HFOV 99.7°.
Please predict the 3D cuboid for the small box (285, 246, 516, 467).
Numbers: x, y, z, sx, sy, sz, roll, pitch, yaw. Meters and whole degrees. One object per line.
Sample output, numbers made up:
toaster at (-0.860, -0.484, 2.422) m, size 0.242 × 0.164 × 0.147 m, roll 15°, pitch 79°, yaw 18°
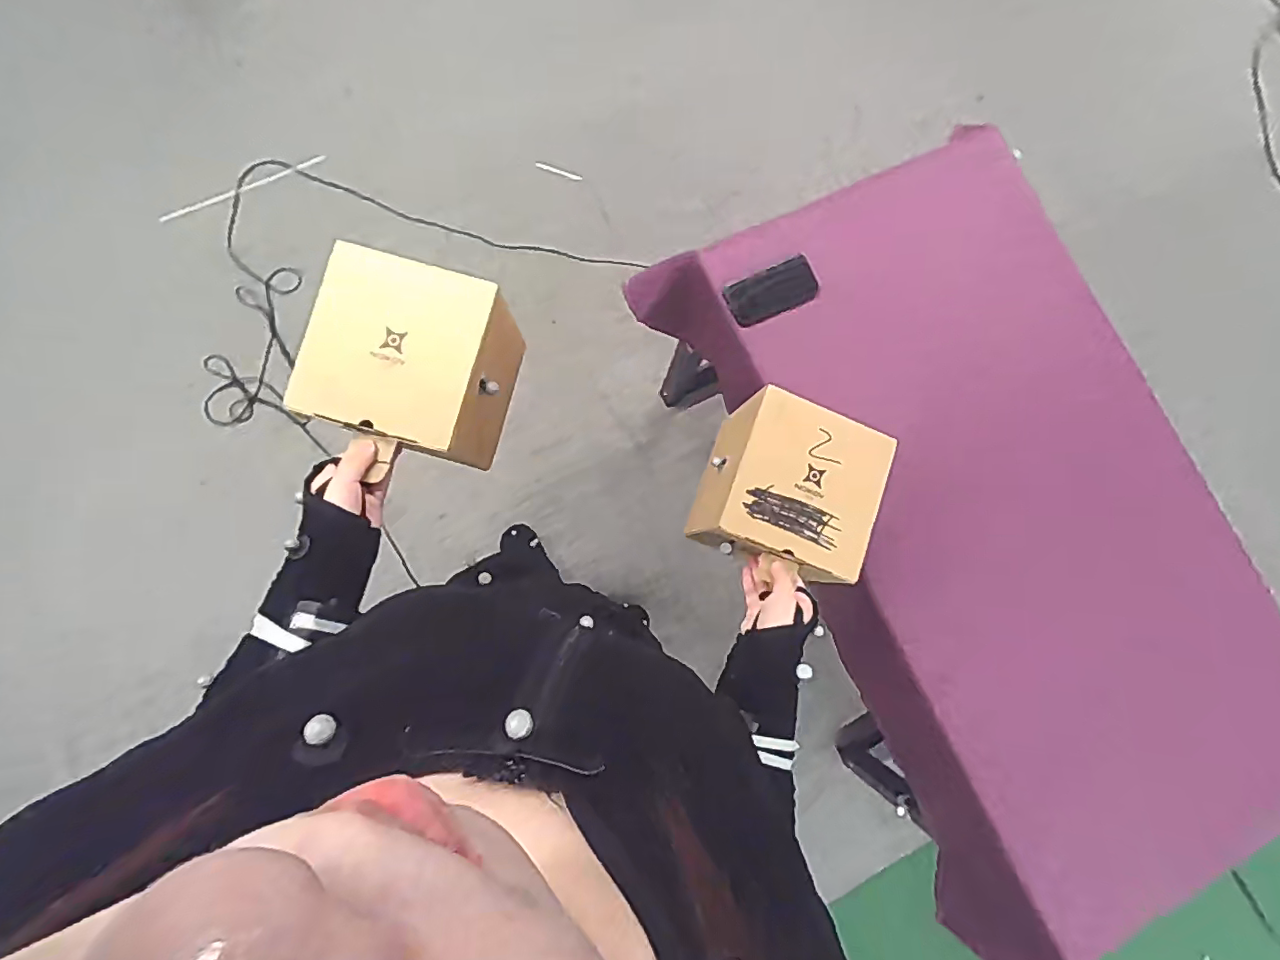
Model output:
small box at (-0.249, -0.124, 0.612) m, size 0.168 × 0.176 × 0.179 m, roll 15°, pitch 86°, yaw -2°
